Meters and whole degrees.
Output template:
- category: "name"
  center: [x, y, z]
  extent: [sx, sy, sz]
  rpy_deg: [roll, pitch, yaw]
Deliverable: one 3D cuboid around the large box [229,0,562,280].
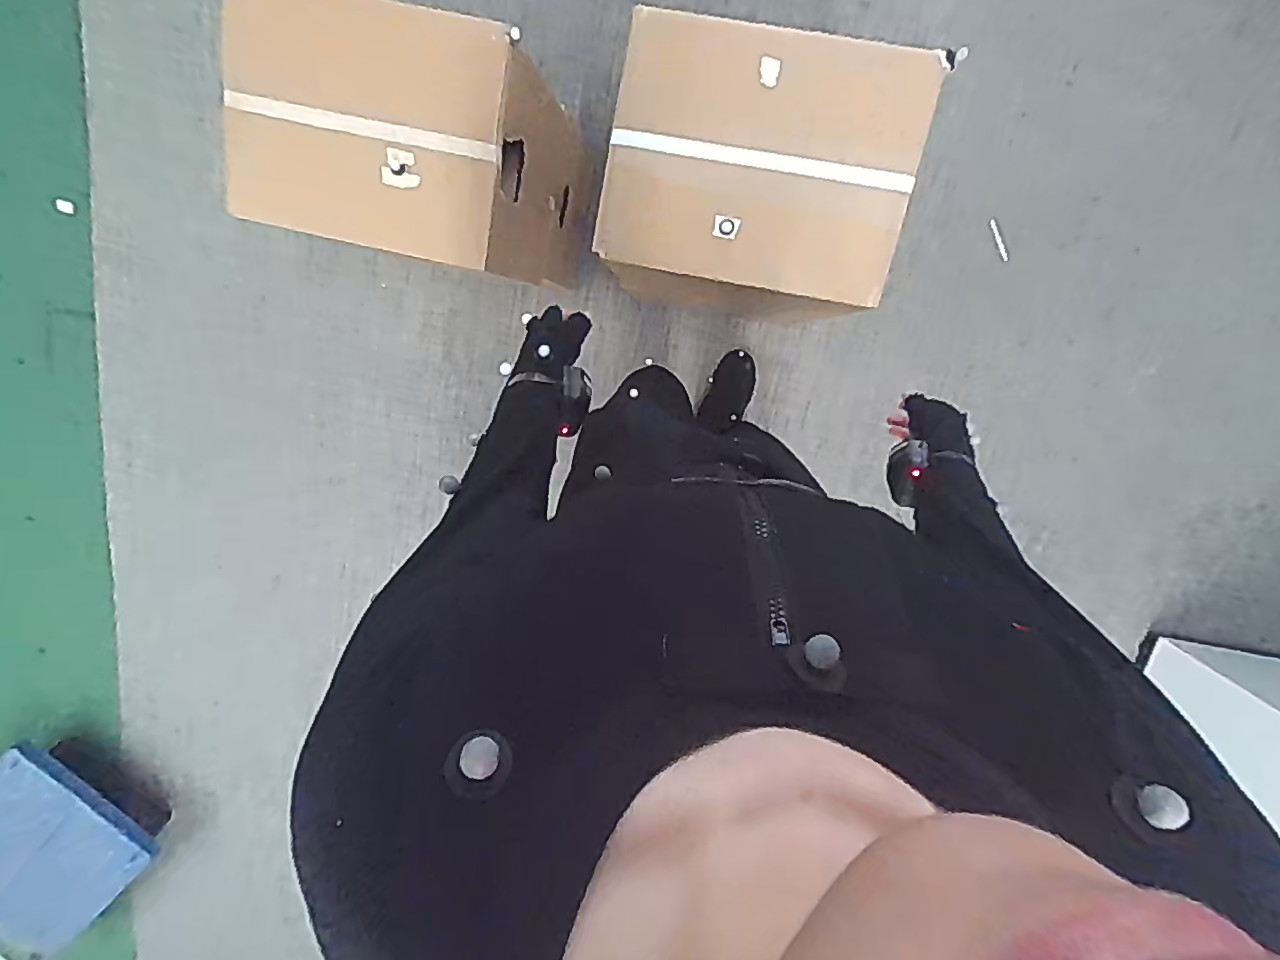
- category: "large box"
  center: [-0.377, -0.544, 0.904]
  extent: [0.408, 0.320, 0.320]
  rpy_deg: [13, 107, 1]
